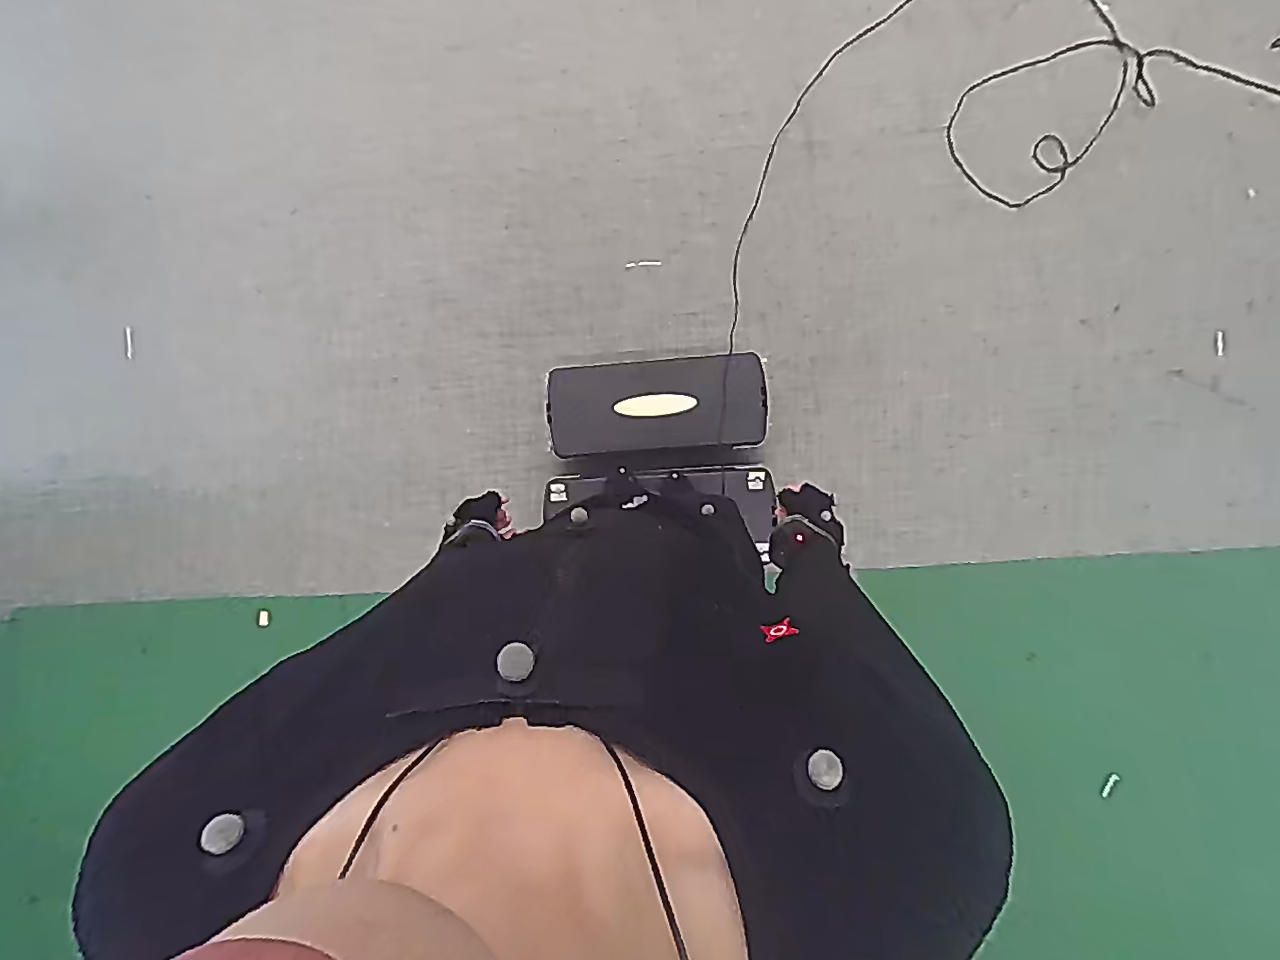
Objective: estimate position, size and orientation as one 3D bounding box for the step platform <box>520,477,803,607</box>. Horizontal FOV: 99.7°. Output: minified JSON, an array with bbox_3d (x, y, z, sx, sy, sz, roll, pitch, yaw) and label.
[{"bbox_3d":[0.051,0.154,1.393,0.684,0.204,0.286,-4,89,2],"label":"step platform"}]
